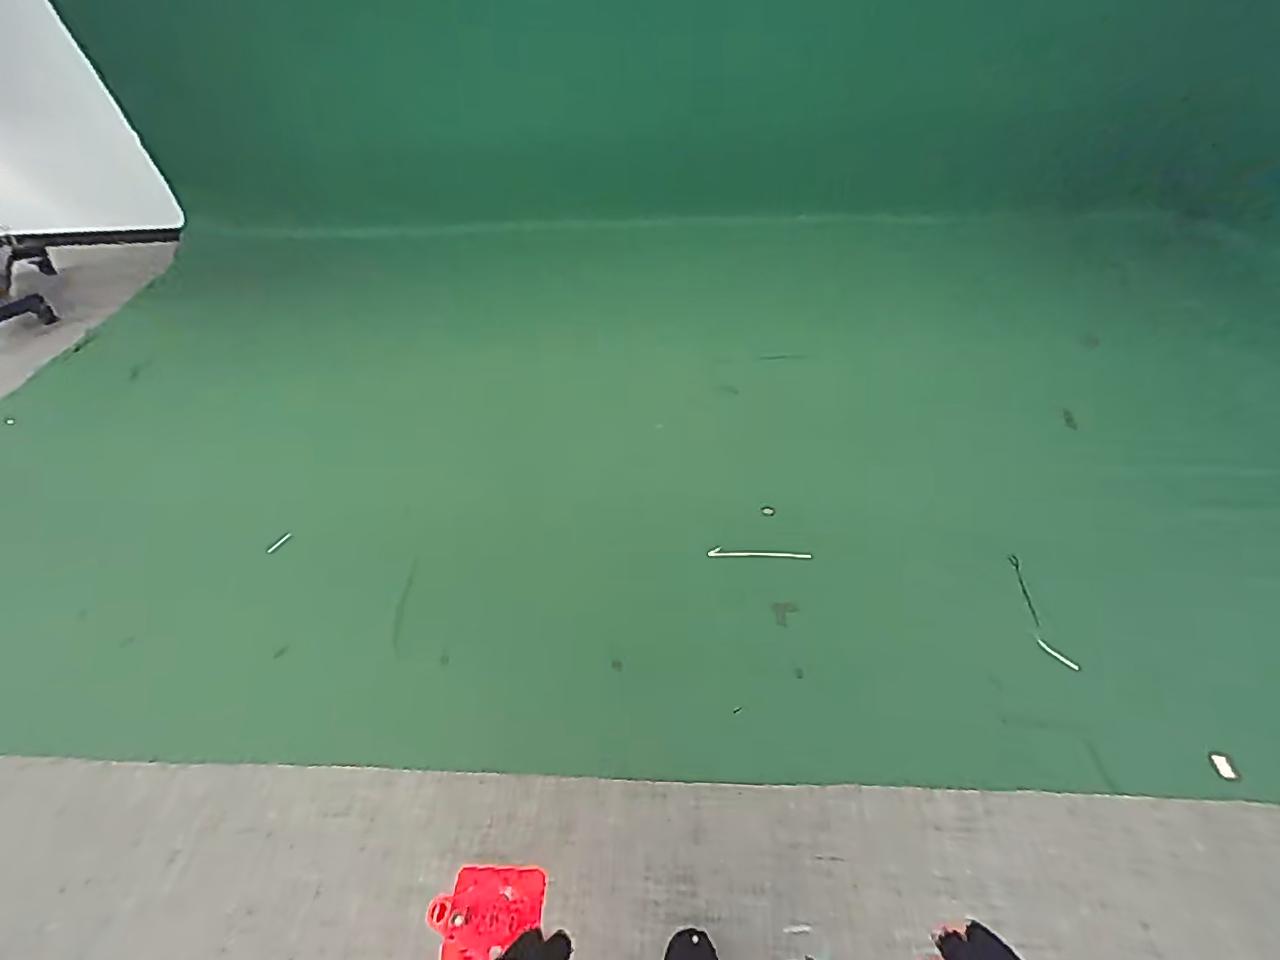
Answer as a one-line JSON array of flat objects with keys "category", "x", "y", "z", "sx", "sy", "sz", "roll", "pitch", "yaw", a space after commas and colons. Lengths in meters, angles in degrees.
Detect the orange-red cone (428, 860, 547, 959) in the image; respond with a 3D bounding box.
[{"category": "orange-red cone", "x": -0.316, "y": 0.819, "z": 1.017, "sx": 0.198, "sy": 0.360, "sz": 0.199, "roll": 0, "pitch": 50, "yaw": 5}]
